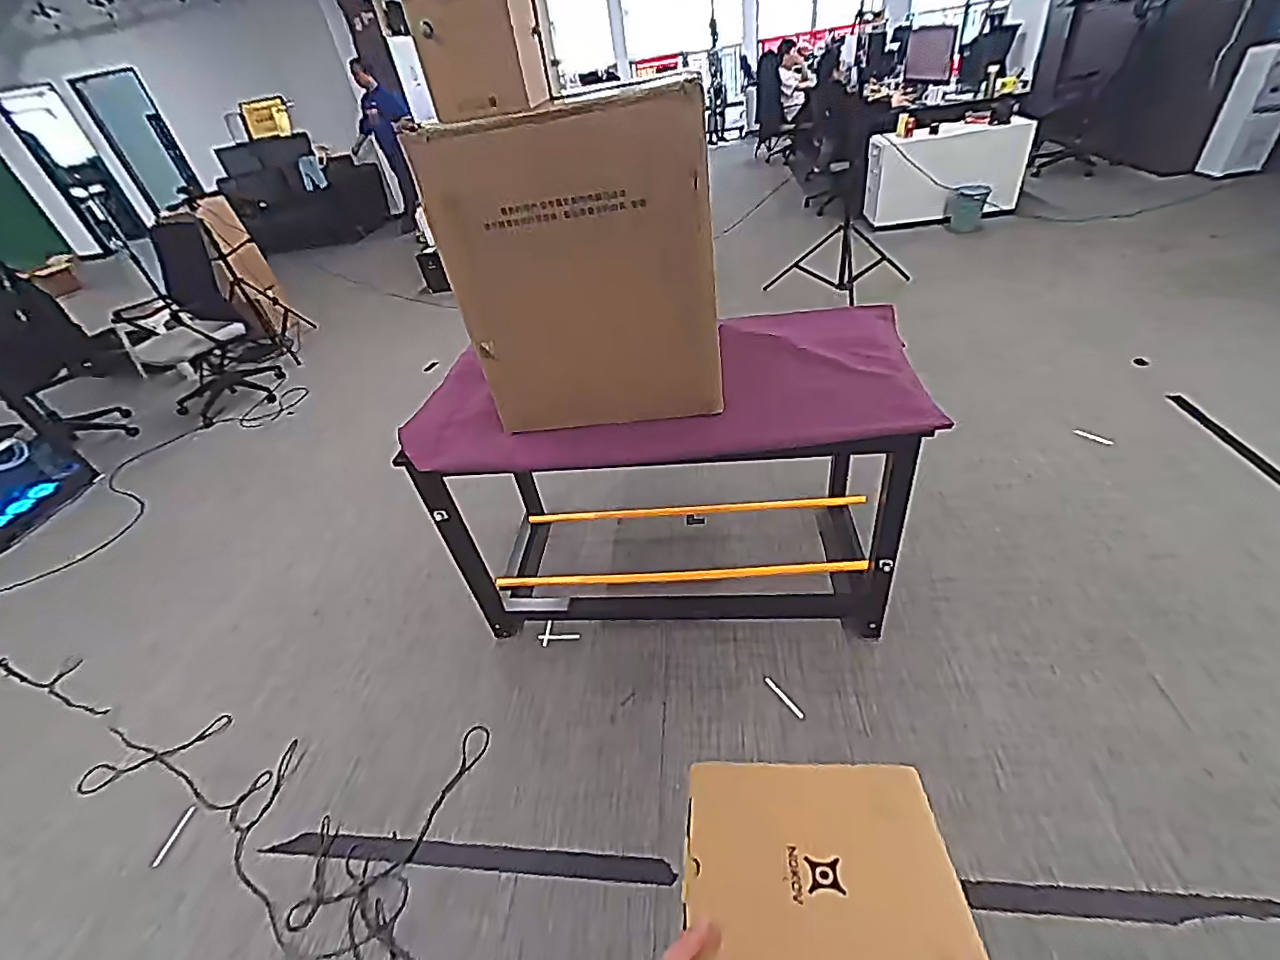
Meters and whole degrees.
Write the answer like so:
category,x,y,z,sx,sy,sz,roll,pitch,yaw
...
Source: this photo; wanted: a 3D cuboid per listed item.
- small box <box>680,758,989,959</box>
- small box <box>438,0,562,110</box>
category,x,y,z,sx,sy,sz,roll,pitch,yaw
small box,0.125,0.329,0.384,0.179,0.176,0.168,-4,24,9
small box,-0.264,-0.843,1.064,0.179,0.176,0.168,-5,39,5
